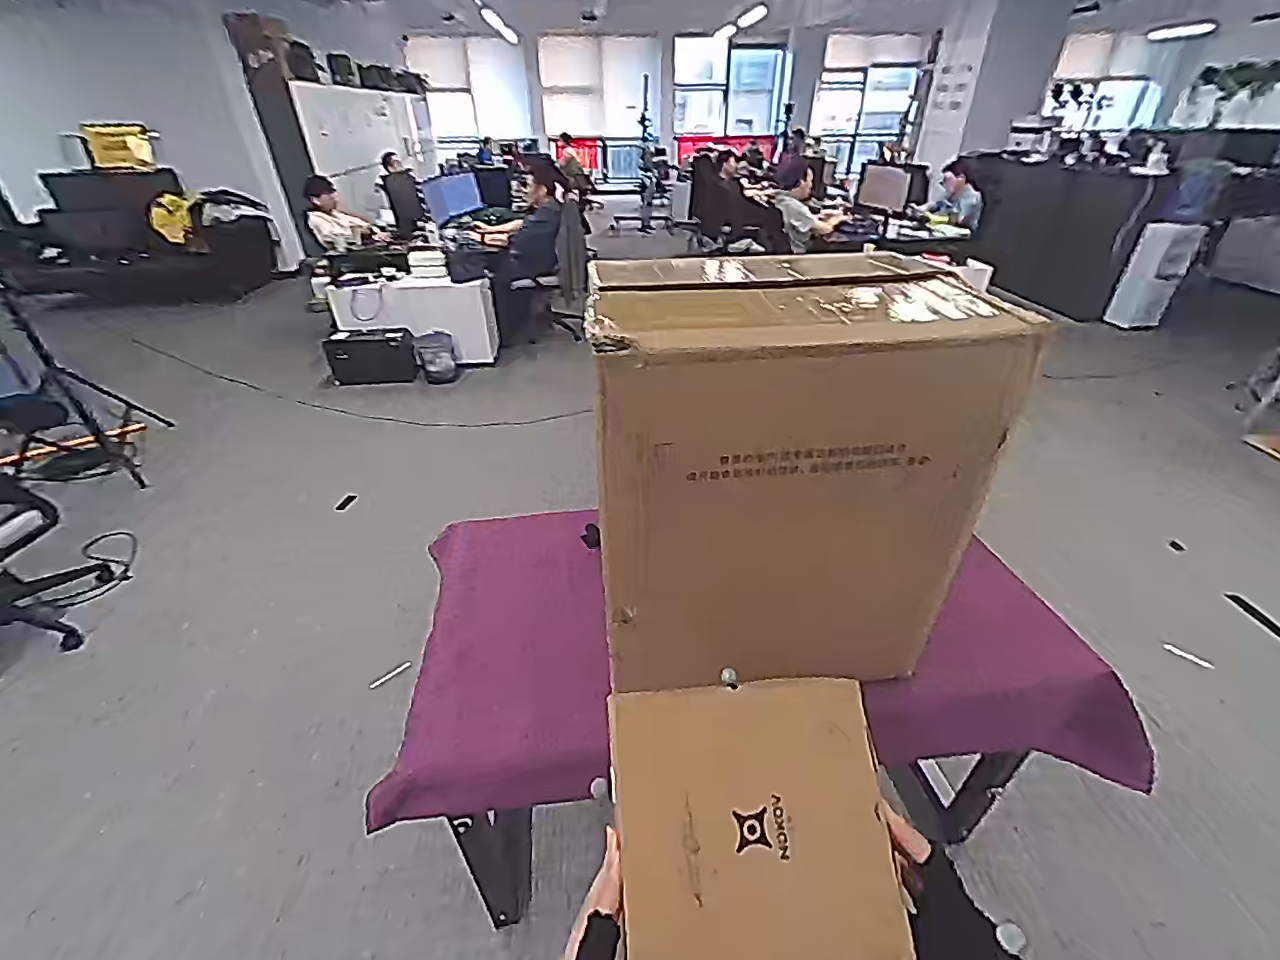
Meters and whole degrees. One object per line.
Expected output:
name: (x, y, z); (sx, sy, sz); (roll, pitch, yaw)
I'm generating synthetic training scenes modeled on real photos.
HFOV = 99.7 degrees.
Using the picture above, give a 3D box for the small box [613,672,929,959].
small box: (0.073, 0.240, 0.412); (0.179, 0.176, 0.168); (-4, 69, -5)
